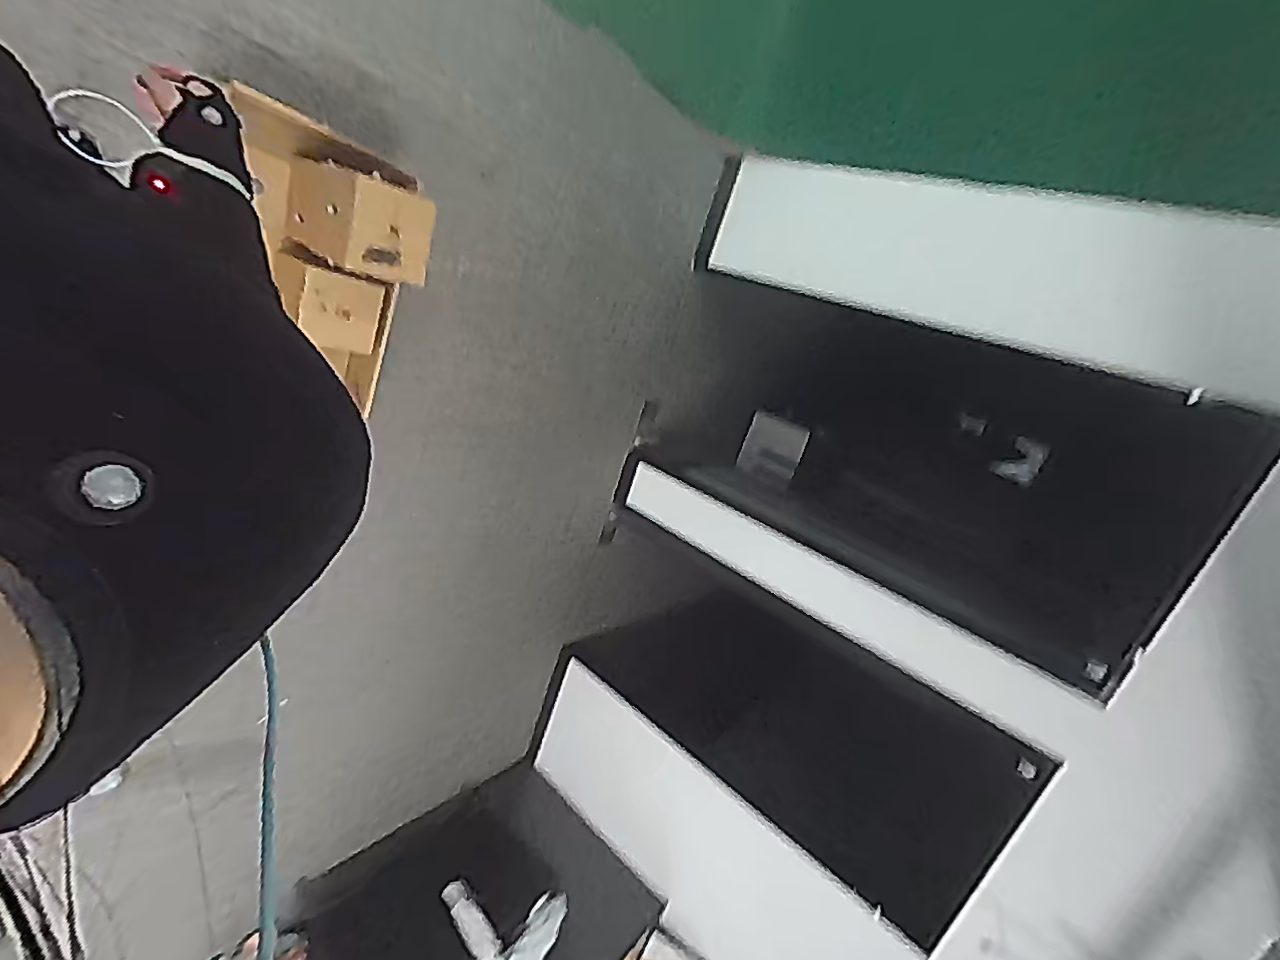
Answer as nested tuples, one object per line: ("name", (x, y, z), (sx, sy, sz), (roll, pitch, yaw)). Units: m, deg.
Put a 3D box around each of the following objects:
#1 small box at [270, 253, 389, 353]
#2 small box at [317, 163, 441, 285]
("small box", (-0.729, -0.416, 1.270), (0.179, 0.176, 0.168), (1, 113, -54))
("small box", (-0.547, -0.529, 1.124), (0.168, 0.176, 0.179), (-5, 119, -52))
